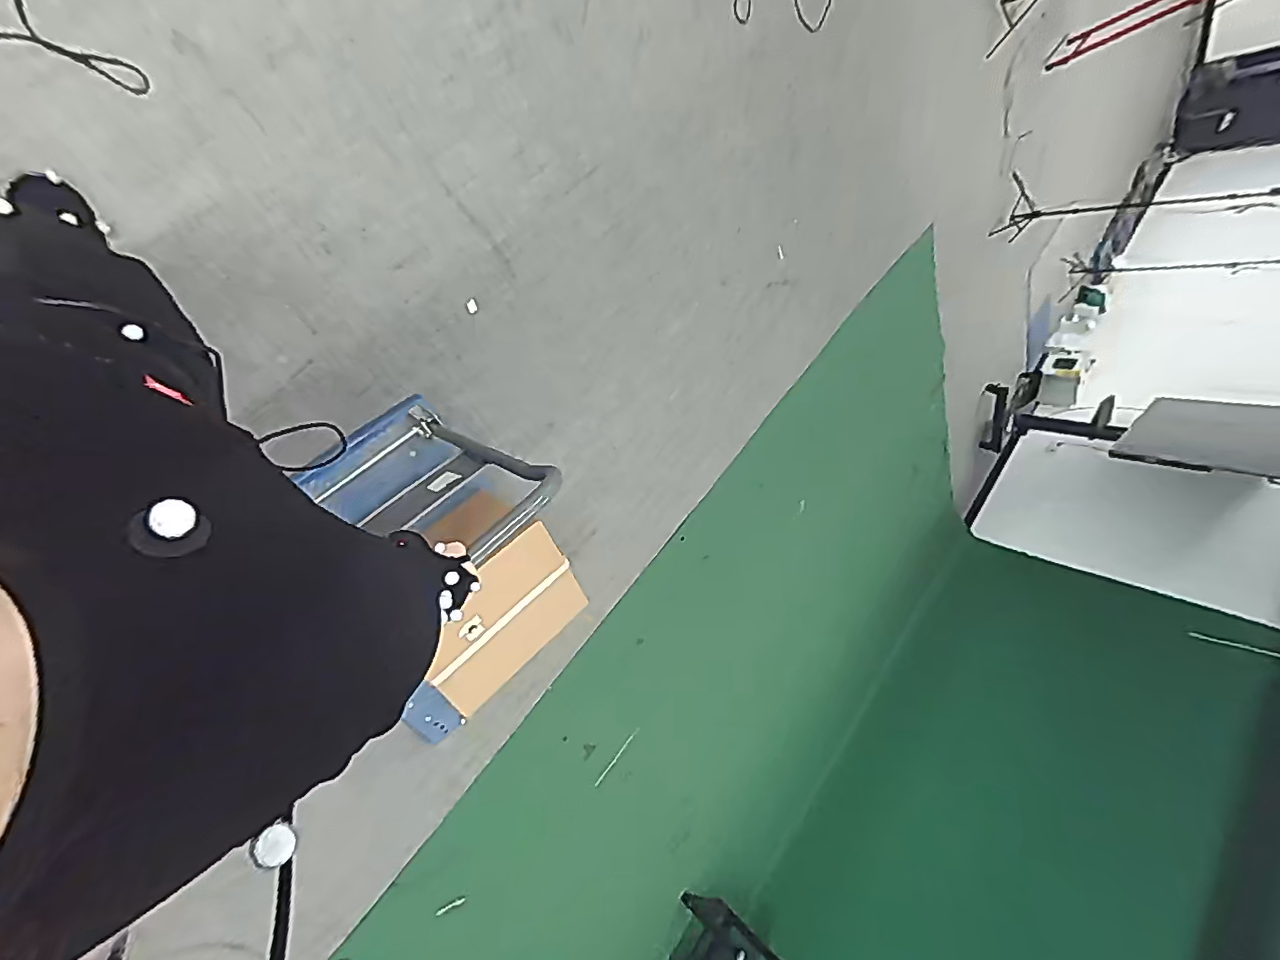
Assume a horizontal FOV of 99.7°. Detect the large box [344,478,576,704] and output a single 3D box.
[{"bbox_3d":[-0.446,0.258,1.375,0.408,0.320,0.320,-41,128,-25],"label":"large box"}]
